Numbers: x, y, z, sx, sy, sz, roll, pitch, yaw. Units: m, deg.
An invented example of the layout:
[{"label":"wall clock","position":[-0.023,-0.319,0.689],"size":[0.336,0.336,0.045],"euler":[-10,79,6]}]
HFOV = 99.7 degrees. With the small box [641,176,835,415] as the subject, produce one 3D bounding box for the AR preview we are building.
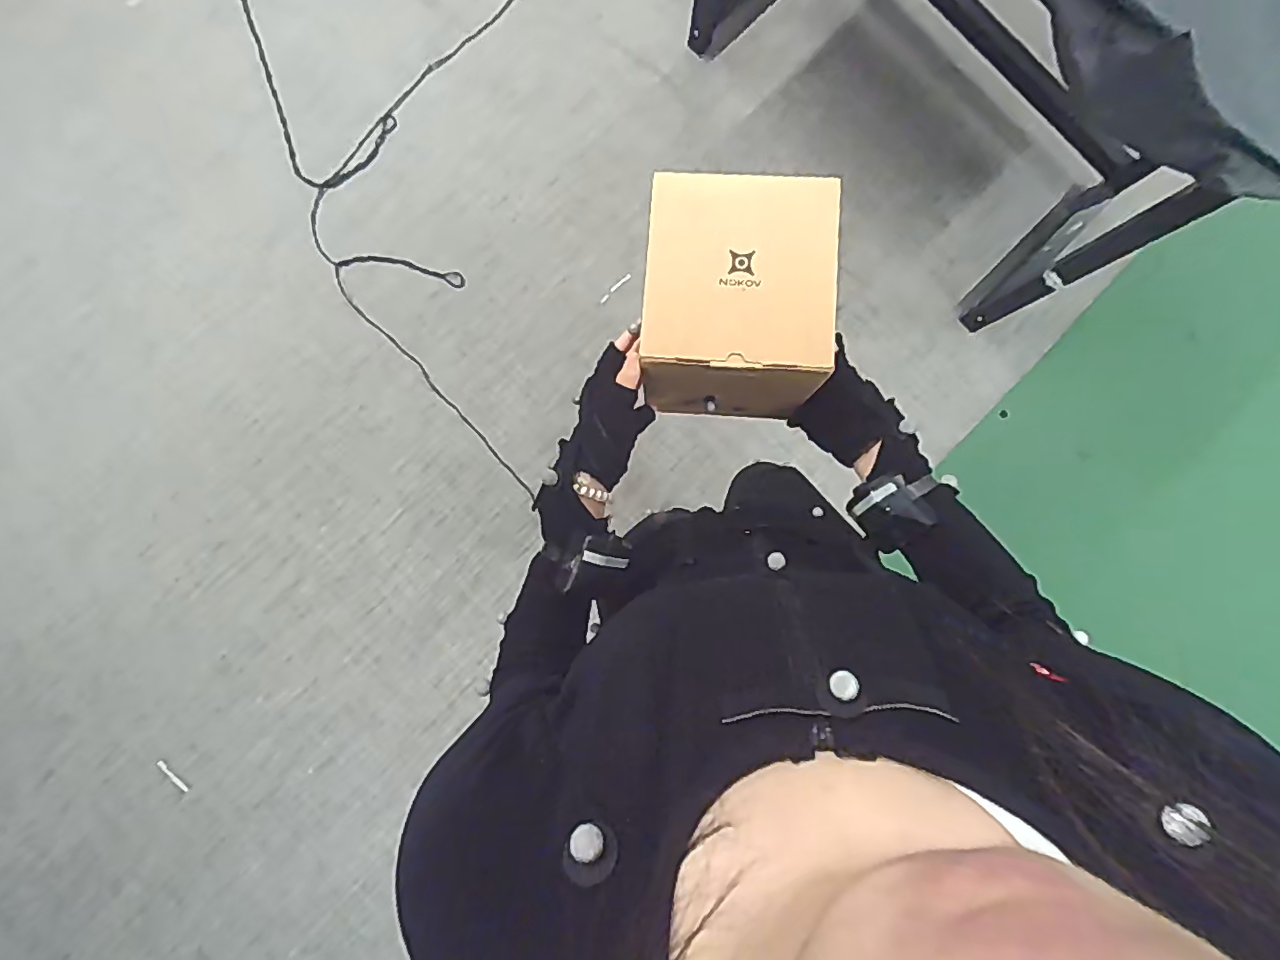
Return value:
[{"label":"small box","position":[0.091,-0.177,0.559],"size":[0.168,0.176,0.179],"euler":[4,84,3]}]
